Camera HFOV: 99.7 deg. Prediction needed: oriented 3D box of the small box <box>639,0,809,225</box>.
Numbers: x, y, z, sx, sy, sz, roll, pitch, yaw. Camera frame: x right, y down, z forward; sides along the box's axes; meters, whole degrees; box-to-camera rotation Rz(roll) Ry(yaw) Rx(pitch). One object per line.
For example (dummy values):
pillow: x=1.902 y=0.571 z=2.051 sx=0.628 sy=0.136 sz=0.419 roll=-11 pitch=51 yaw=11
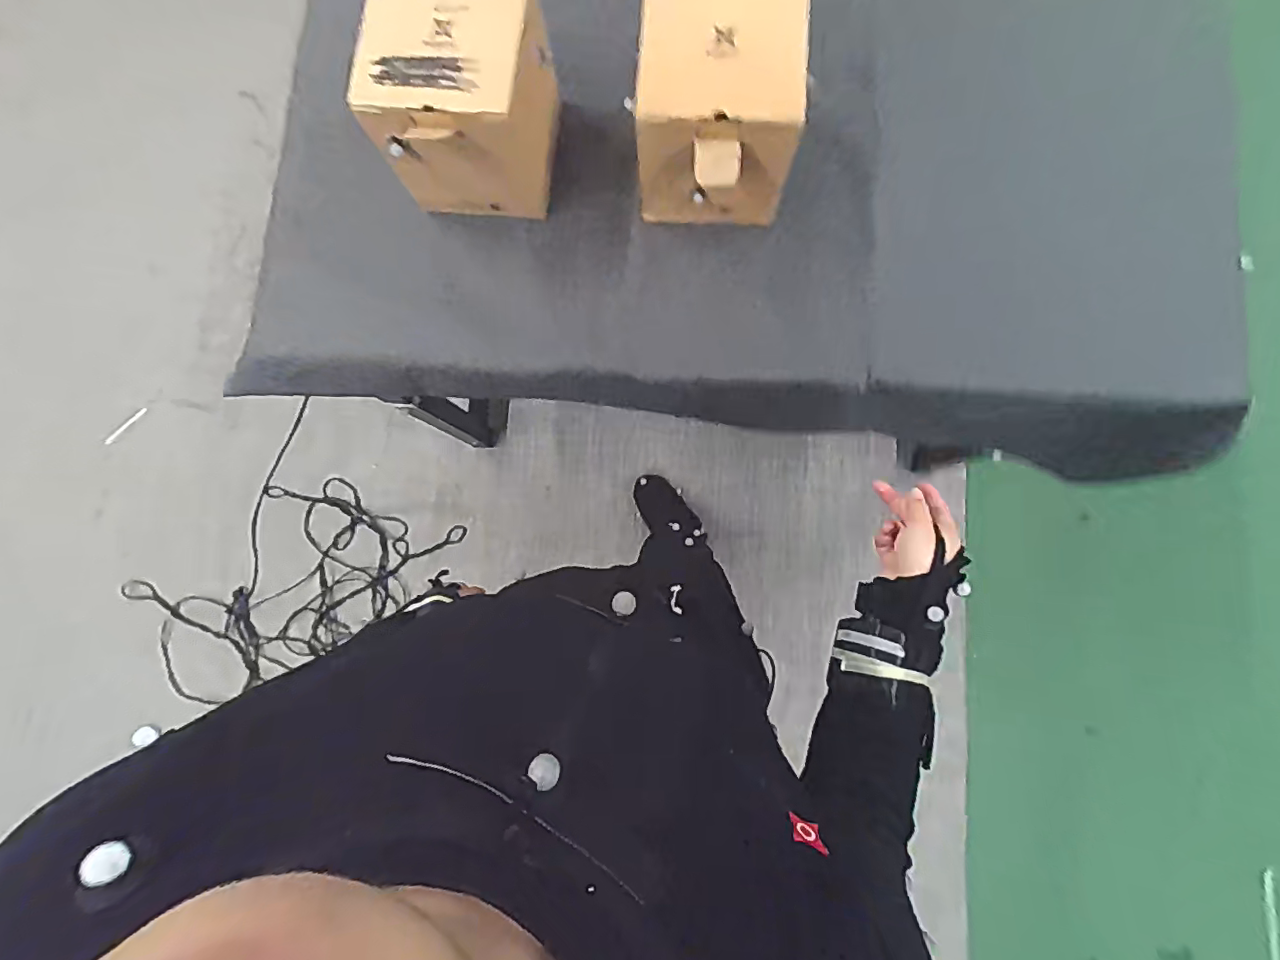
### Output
small box: x=0.086 y=-0.425 z=0.617 sx=0.168 sy=0.176 sz=0.179 roll=3 pitch=84 yaw=3
